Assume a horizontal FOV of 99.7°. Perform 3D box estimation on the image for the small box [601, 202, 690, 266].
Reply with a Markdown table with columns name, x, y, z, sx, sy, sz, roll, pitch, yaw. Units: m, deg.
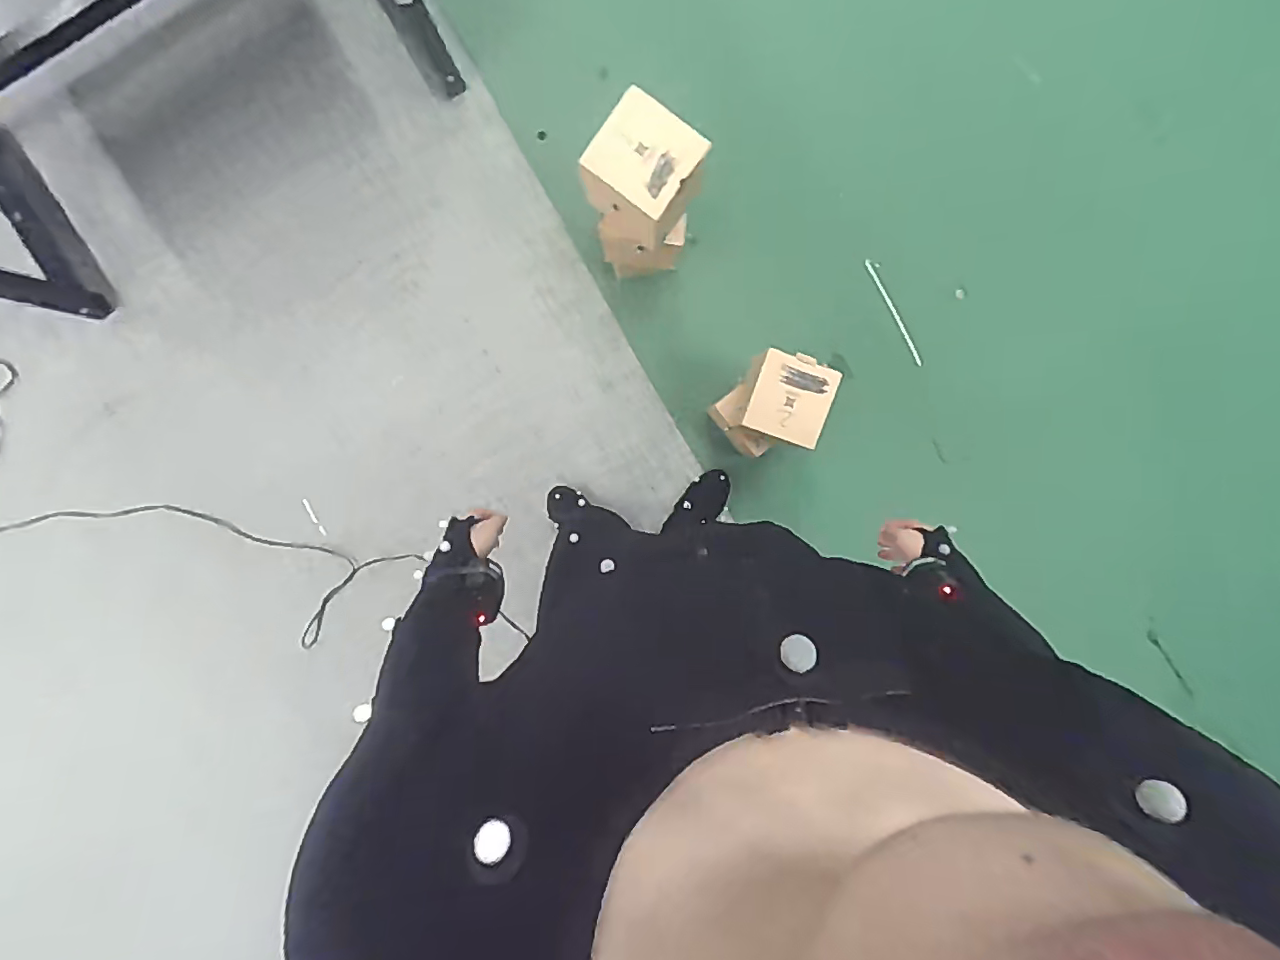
| name | x | y | z | sx | sy | sz | roll | pitch | yaw |
| --- | --- | --- | --- | --- | --- | --- | --- | --- | --- |
| small box | 0.016 | -0.584 | 1.186 | 0.179 | 0.176 | 0.168 | 7 | 96 | -1 |

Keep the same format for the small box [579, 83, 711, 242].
| name | x | y | z | sx | sy | sz | roll | pitch | yaw |
| --- | --- | --- | --- | --- | --- | --- | --- | --- | --- |
| small box | 0.011 | -0.579 | 1.021 | 0.179 | 0.176 | 0.168 | 37 | 95 | -2 |

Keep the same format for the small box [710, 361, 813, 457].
| name | x | y | z | sx | sy | sz | roll | pitch | yaw |
| --- | --- | --- | --- | --- | --- | --- | --- | --- | --- |
| small box | 0.299 | -0.178 | 1.376 | 0.179 | 0.176 | 0.168 | -39 | 94 | 2 |

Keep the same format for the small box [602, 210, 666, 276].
| name | x | y | z | sx | sy | sz | roll | pitch | yaw |
| --- | --- | --- | --- | --- | --- | --- | --- | --- | --- |
| small box | 0.006 | -0.626 | 1.345 | 0.179 | 0.176 | 0.168 | -14 | 95 | 1 |
